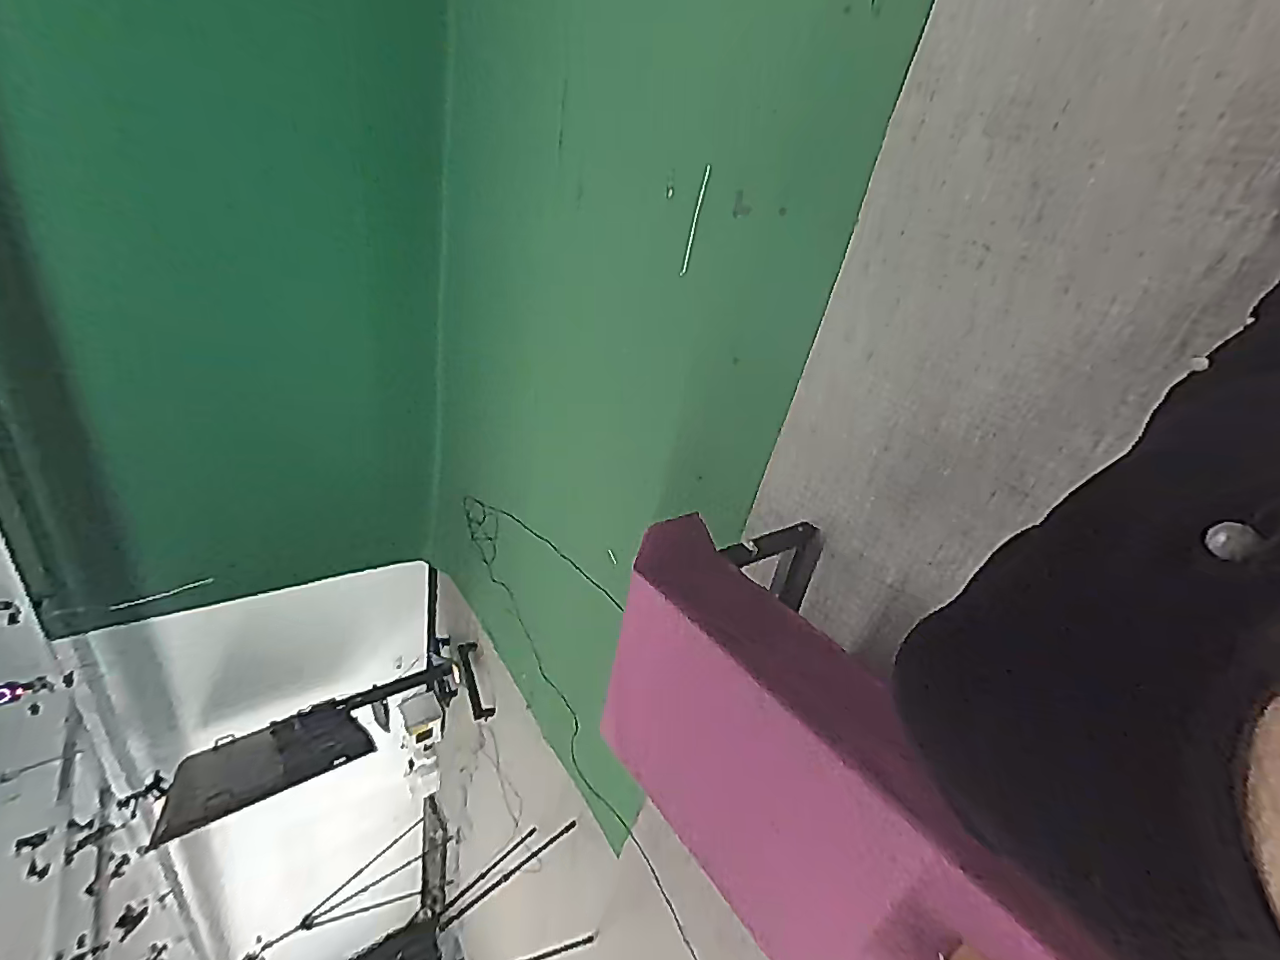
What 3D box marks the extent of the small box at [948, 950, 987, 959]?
[{"bbox_3d":[0.476,0.818,0.755,0.179,0.176,0.168,33,124,42],"label":"small box"}]
